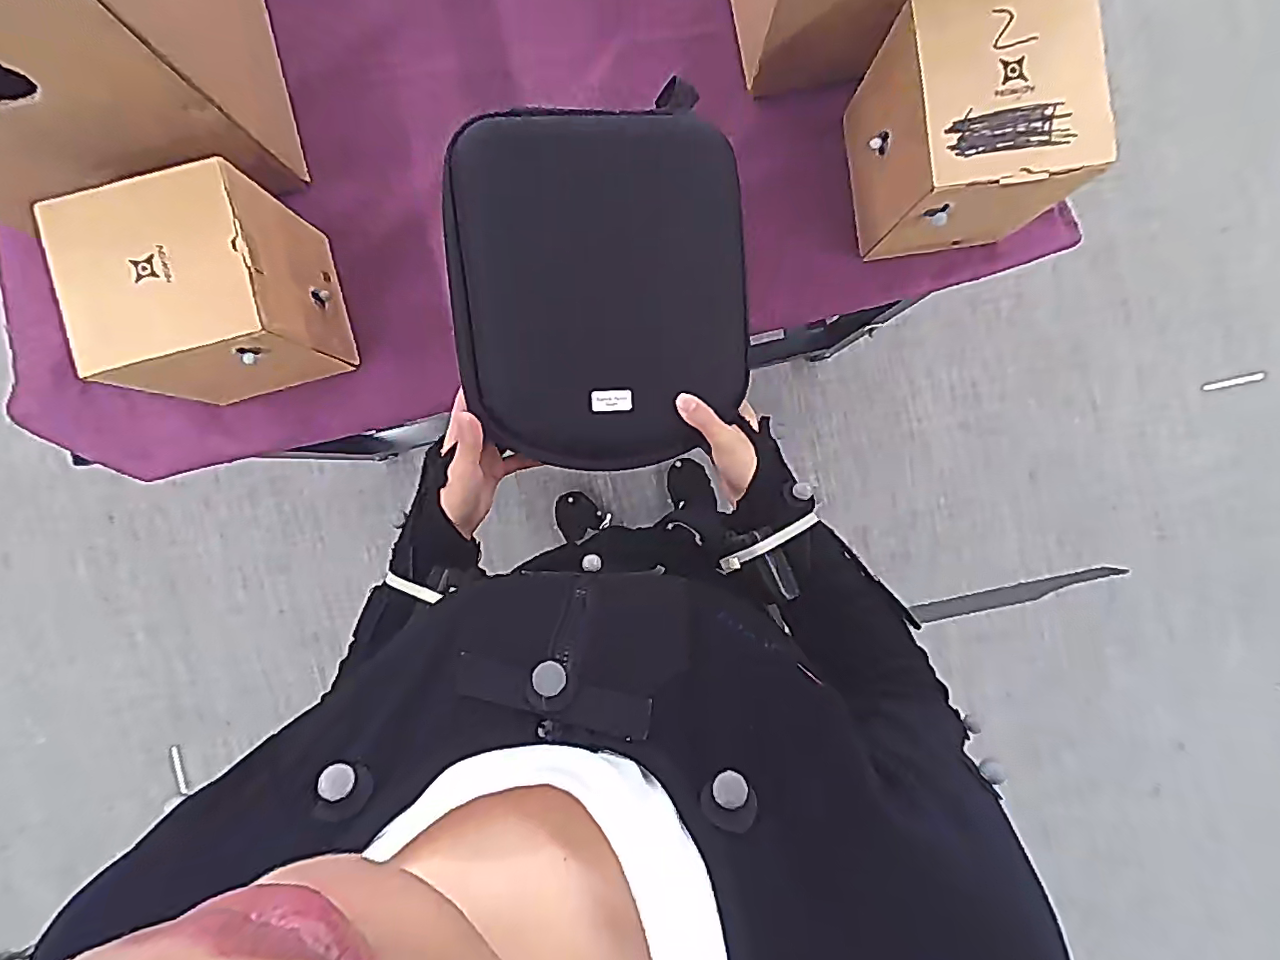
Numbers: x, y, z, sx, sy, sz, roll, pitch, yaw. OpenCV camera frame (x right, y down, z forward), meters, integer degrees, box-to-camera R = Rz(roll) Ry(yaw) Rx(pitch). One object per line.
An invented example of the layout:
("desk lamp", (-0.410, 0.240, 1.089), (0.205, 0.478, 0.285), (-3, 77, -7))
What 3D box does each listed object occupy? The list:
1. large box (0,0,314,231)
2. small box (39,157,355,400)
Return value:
("large box", (-0.578, -0.504, 0.493), (0.320, 0.320, 0.408), (-14, 93, -1))
("small box", (-0.442, -0.192, 0.569), (0.179, 0.176, 0.168), (-16, 89, -1))
